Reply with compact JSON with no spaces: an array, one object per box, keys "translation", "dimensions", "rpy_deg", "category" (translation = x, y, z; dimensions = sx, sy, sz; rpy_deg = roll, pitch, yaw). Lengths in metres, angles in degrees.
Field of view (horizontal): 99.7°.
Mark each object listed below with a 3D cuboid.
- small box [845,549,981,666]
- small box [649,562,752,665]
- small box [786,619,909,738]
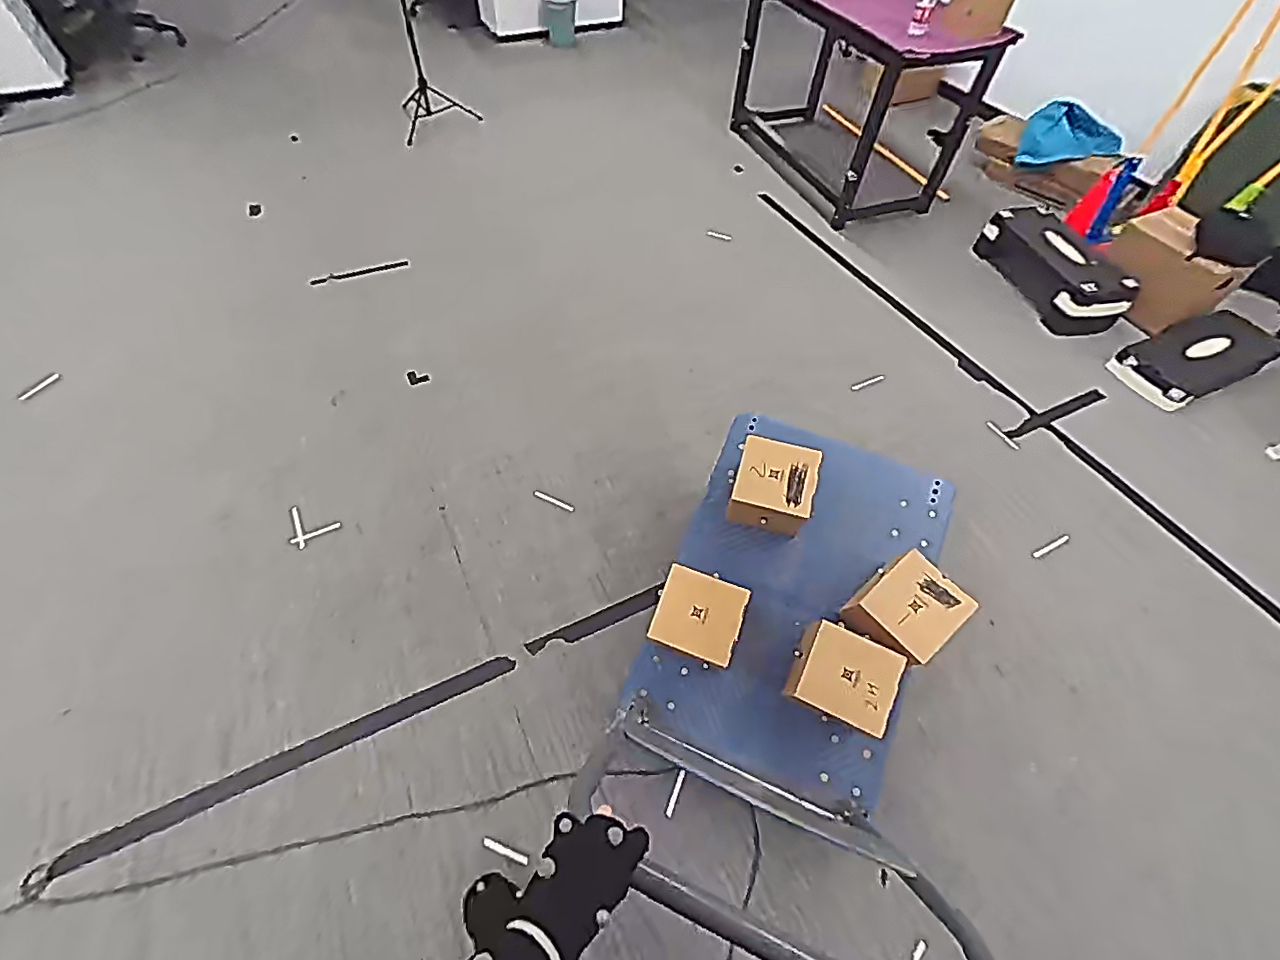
[{"translation":[0.574,0.278,1.164],"dimensions":[0.179,0.176,0.168],"rpy_deg":[-40,72,-9],"category":"small box"},{"translation":[0.132,0.302,1.197],"dimensions":[0.179,0.176,0.168],"rpy_deg":[19,73,10],"category":"small box"},{"translation":[0.422,0.412,1.130],"dimensions":[0.179,0.176,0.168],"rpy_deg":[24,75,13],"category":"small box"}]
